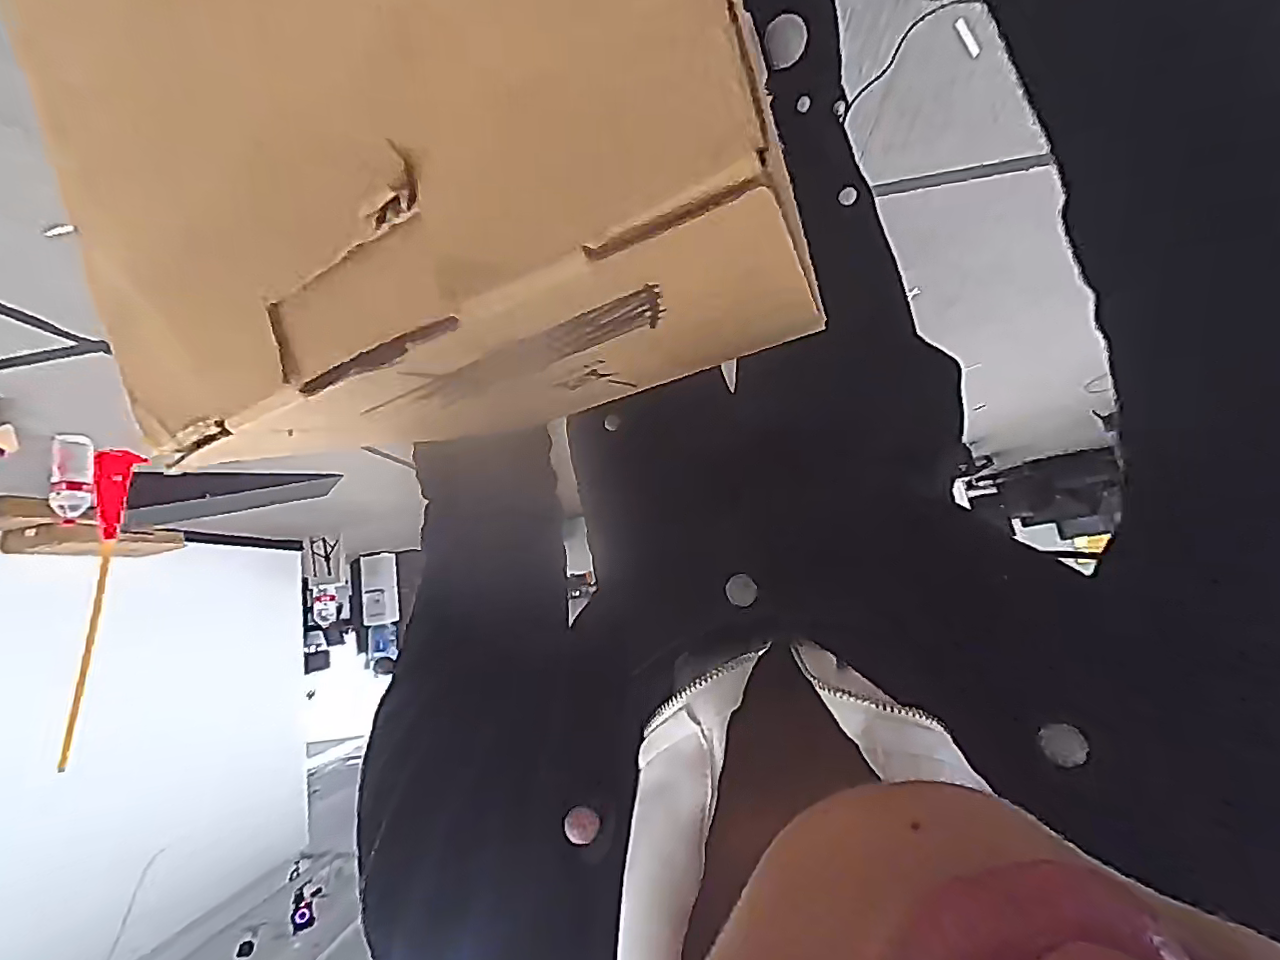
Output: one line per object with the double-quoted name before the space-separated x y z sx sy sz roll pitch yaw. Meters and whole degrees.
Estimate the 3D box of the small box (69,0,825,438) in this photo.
"small box" -0.043 -0.120 0.189 0.168 0.176 0.179 -15 -178 23
